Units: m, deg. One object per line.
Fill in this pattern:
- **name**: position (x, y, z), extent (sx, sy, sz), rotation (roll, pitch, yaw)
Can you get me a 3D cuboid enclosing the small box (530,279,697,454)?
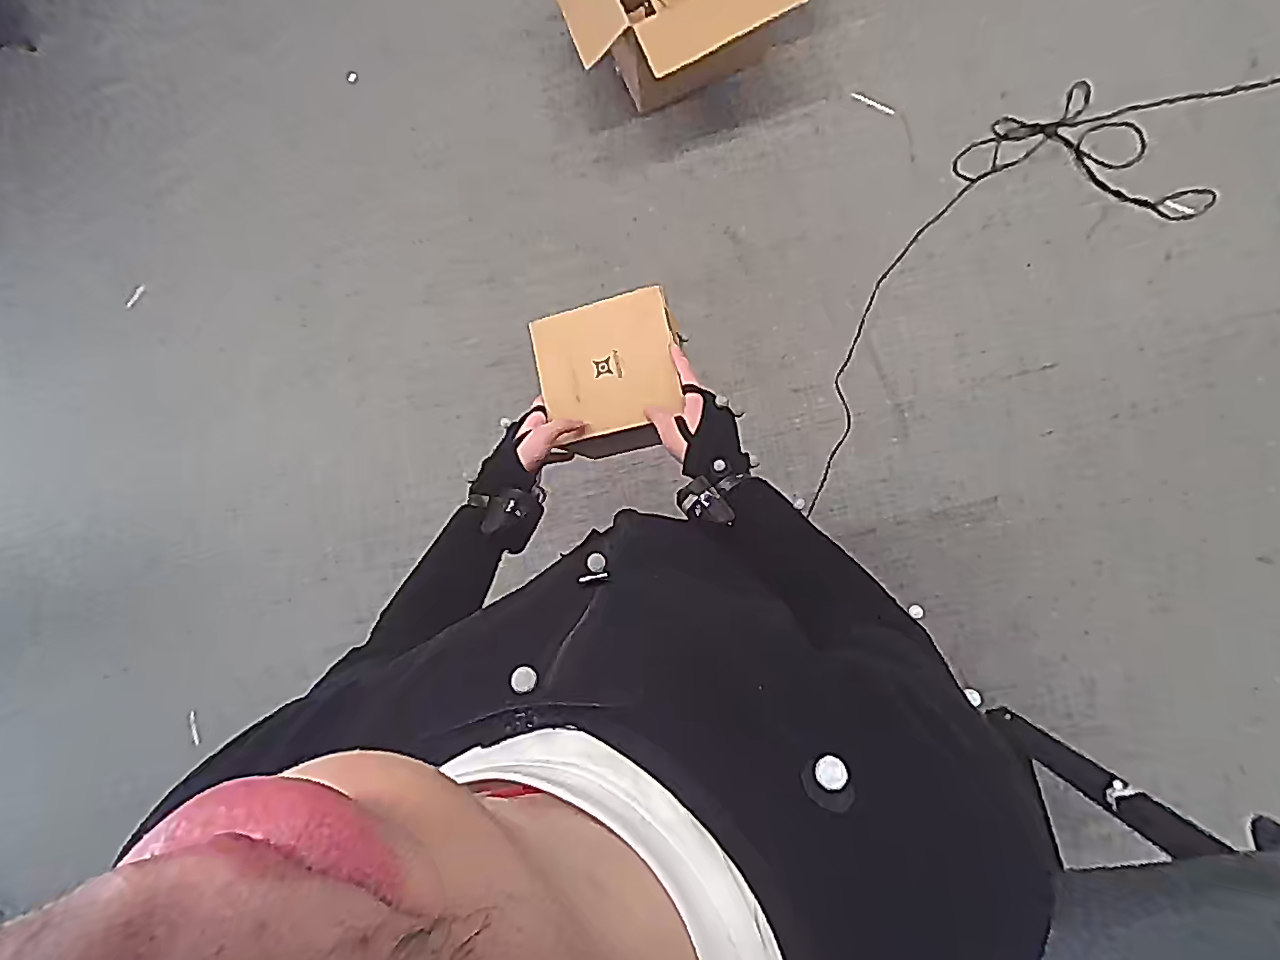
- **small box**: position (-0.024, -0.137, 0.720), extent (0.179, 0.176, 0.168), rotation (-11, 82, 12)
